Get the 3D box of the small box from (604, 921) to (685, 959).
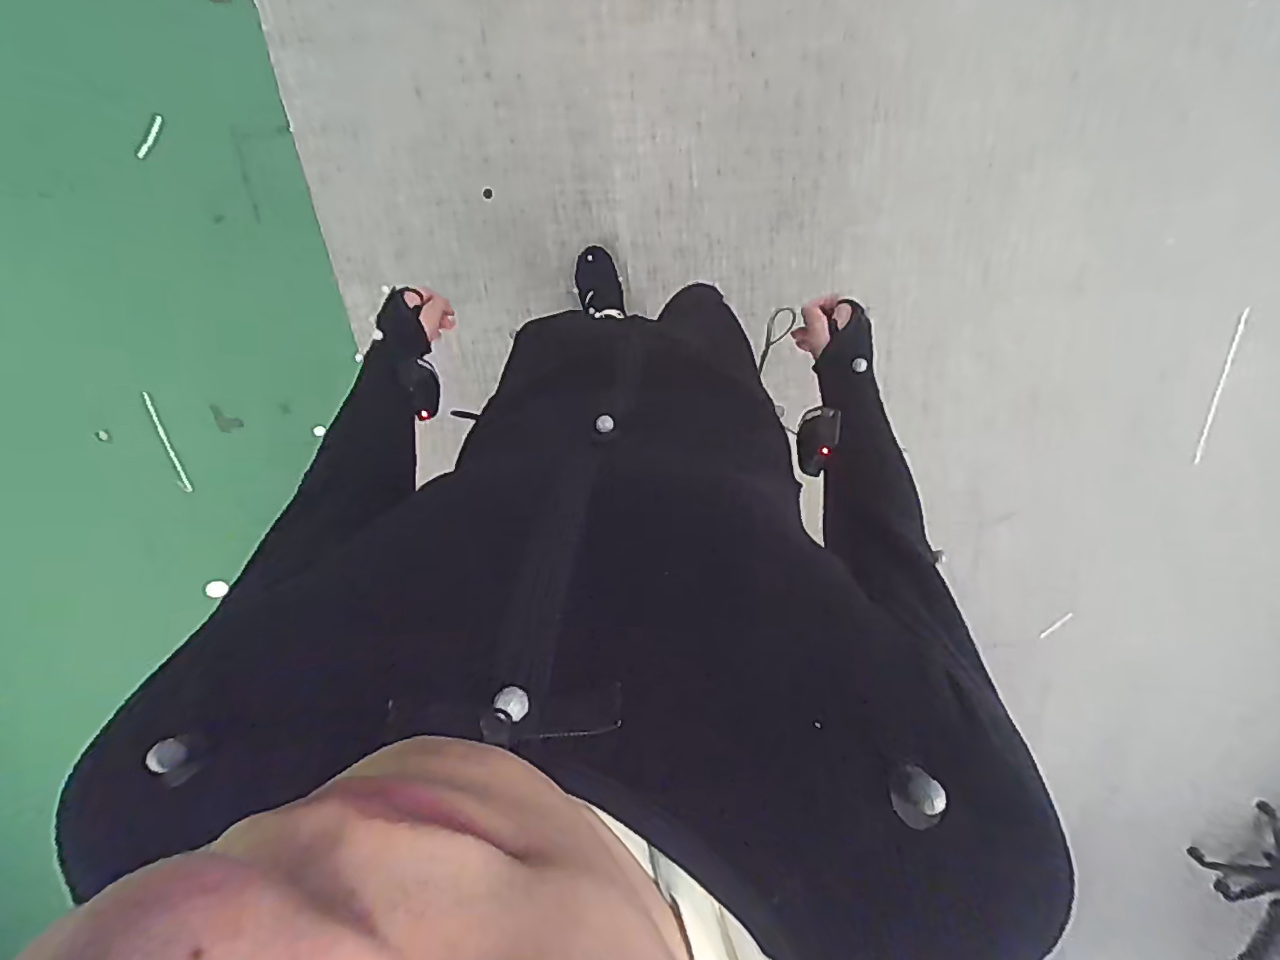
[{"bbox_3d":[0.014,1.038,1.102,0.168,0.176,0.179,-4,113,1],"label":"small box"}]
